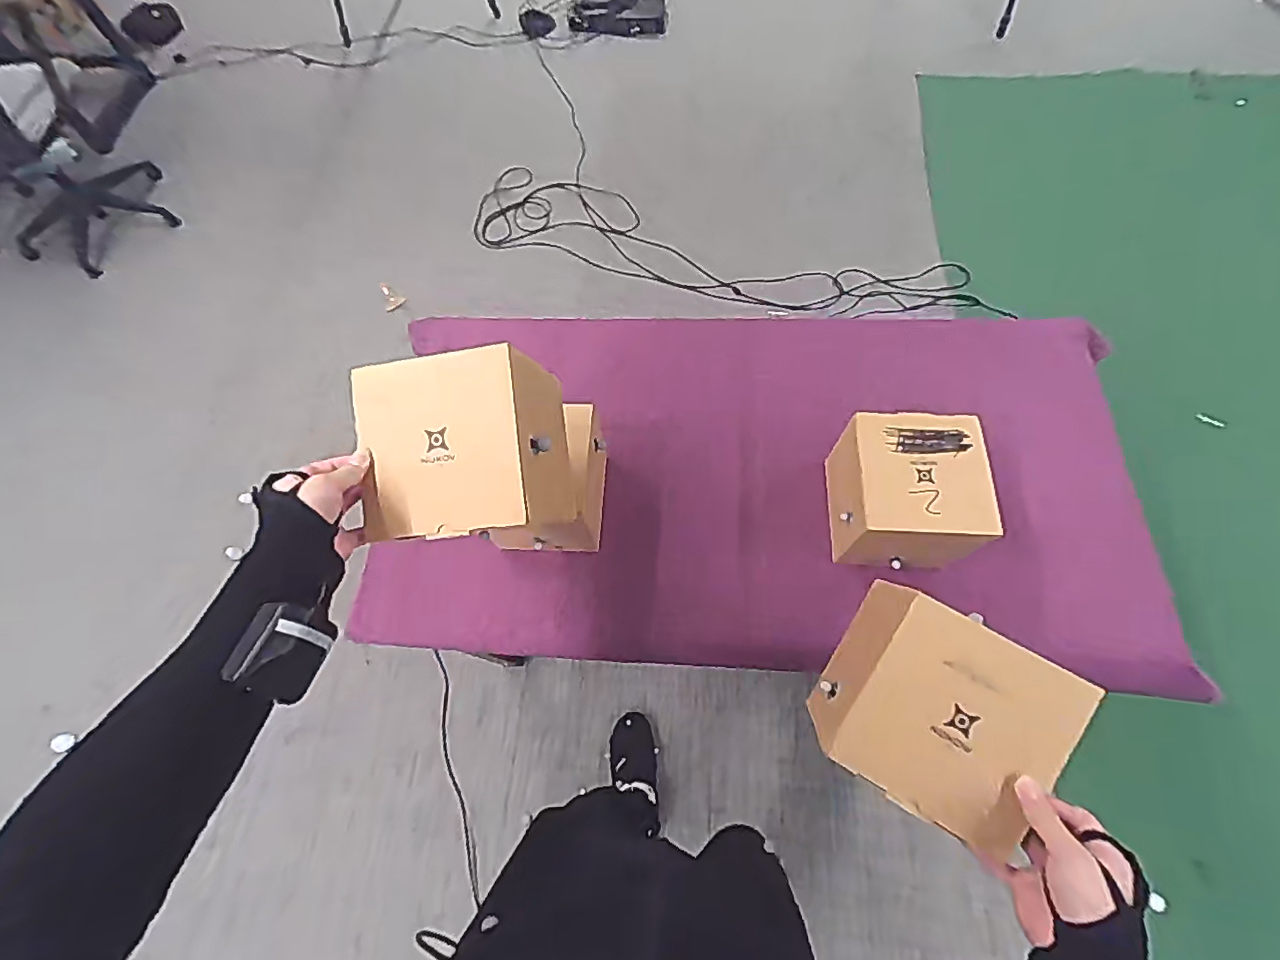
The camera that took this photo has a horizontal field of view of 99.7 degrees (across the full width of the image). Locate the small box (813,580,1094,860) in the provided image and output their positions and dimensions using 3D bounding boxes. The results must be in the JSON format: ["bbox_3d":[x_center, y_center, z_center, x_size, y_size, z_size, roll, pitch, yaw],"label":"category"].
[{"bbox_3d":[0.291,0.219,0.551,0.168,0.176,0.179,29,89,14],"label":"small box"}]

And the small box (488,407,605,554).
[{"bbox_3d":[-0.148,0.004,0.833,0.168,0.176,0.179,1,66,5],"label":"small box"}]

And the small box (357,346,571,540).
[{"bbox_3d":[-0.184,-0.031,0.606,0.168,0.176,0.179,-8,87,8],"label":"small box"}]
